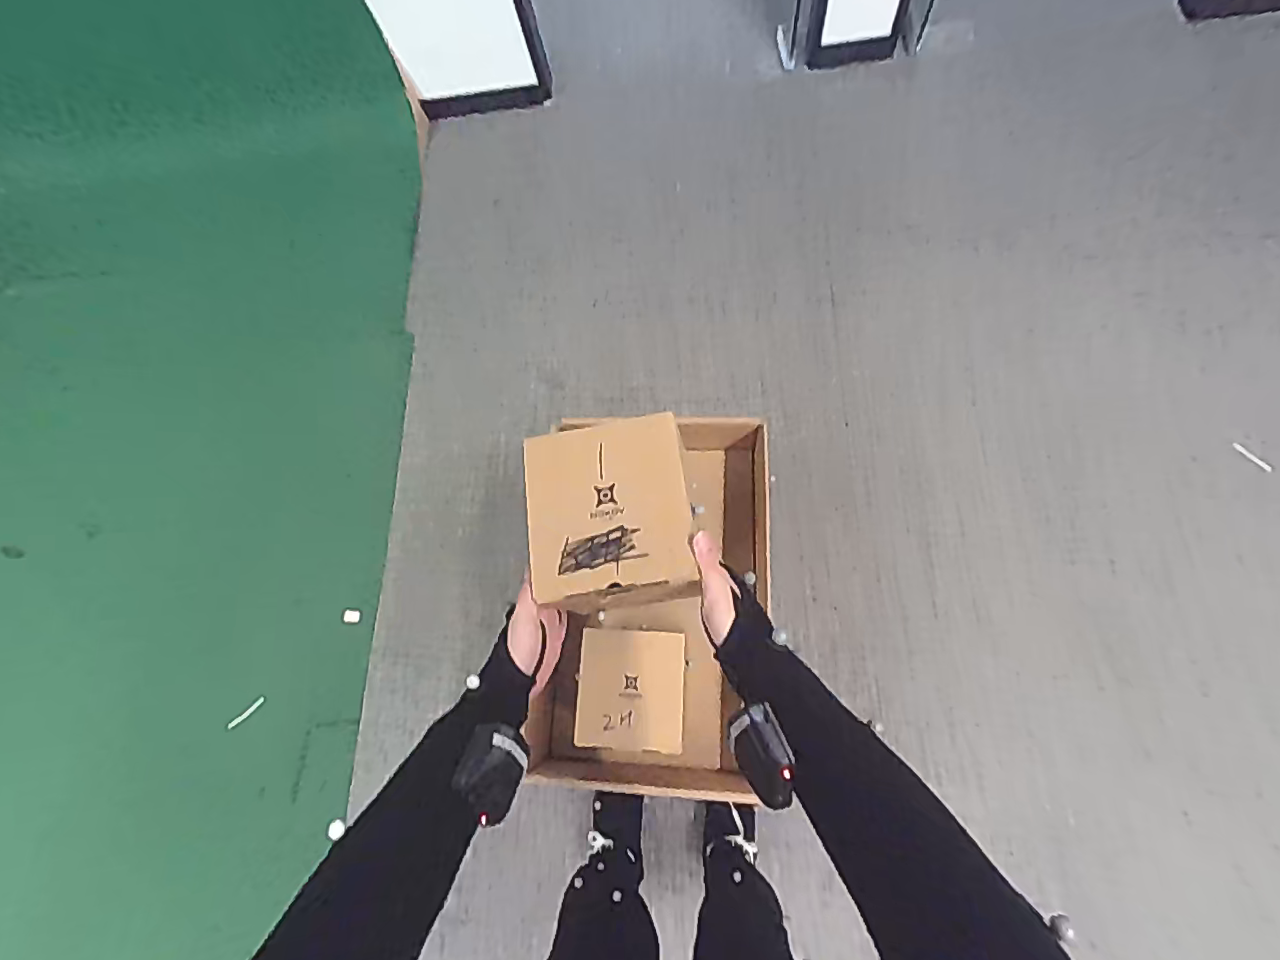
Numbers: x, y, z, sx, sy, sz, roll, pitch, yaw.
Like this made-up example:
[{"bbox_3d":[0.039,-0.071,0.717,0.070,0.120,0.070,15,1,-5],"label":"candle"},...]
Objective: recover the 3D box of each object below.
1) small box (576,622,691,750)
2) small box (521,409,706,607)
[{"bbox_3d":[-0.002,0.338,0.908,0.168,0.176,0.179,1,73,9],"label":"small box"},{"bbox_3d":[-0.022,0.045,0.614,0.168,0.176,0.179,-11,71,7],"label":"small box"}]
